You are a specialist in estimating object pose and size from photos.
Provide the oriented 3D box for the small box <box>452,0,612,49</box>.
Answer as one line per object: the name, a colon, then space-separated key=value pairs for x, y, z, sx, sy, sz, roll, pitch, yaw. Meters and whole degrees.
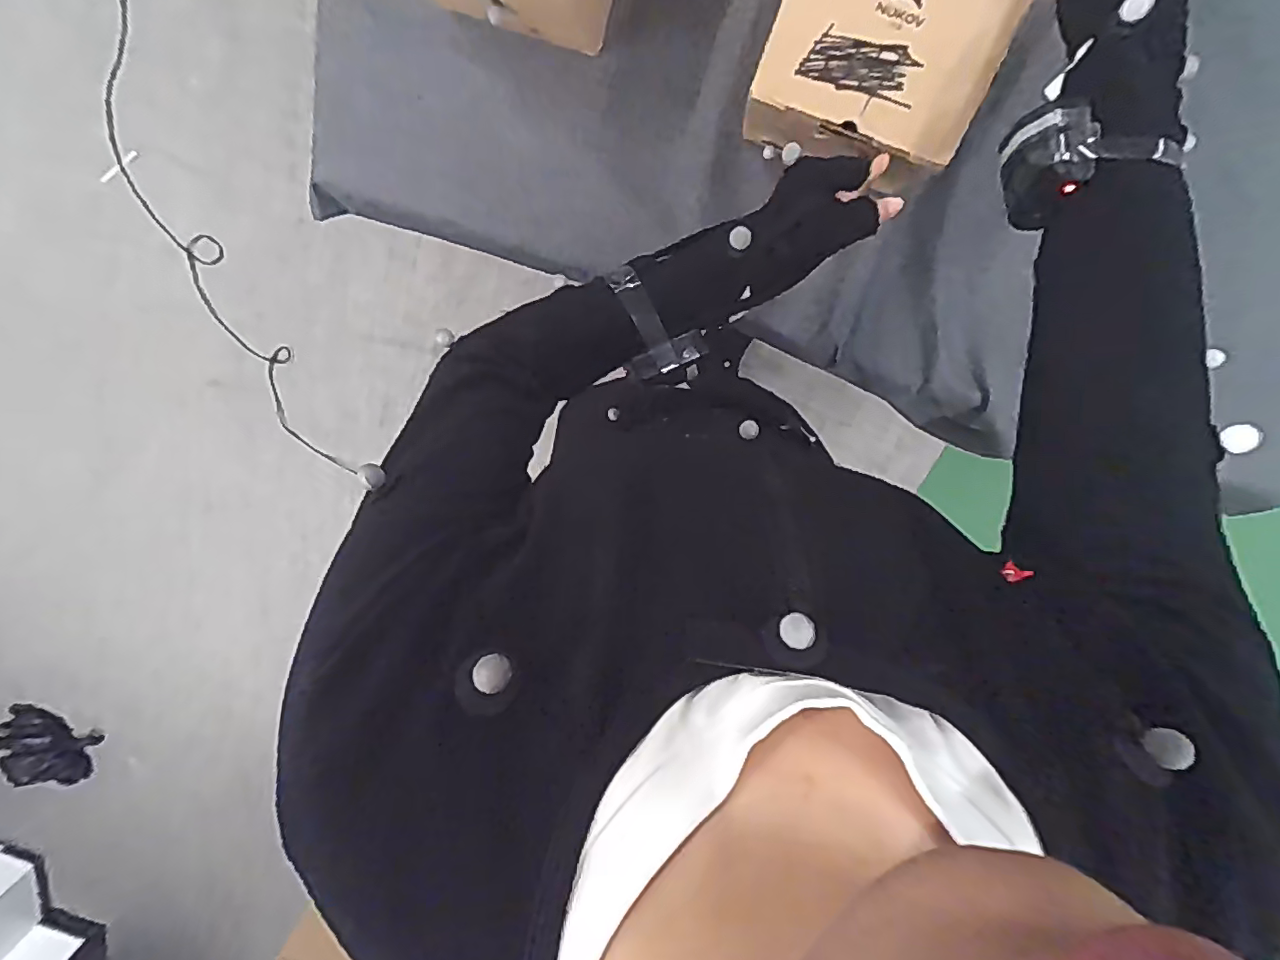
small box: x=-0.106 y=-0.505 z=0.454 sx=0.168 sy=0.176 sz=0.179 roll=18 pitch=115 yaw=1

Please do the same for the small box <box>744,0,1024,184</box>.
small box: x=0.199 y=-0.376 z=0.461 sx=0.168 sy=0.176 sz=0.179 roll=21 pitch=113 yaw=0
